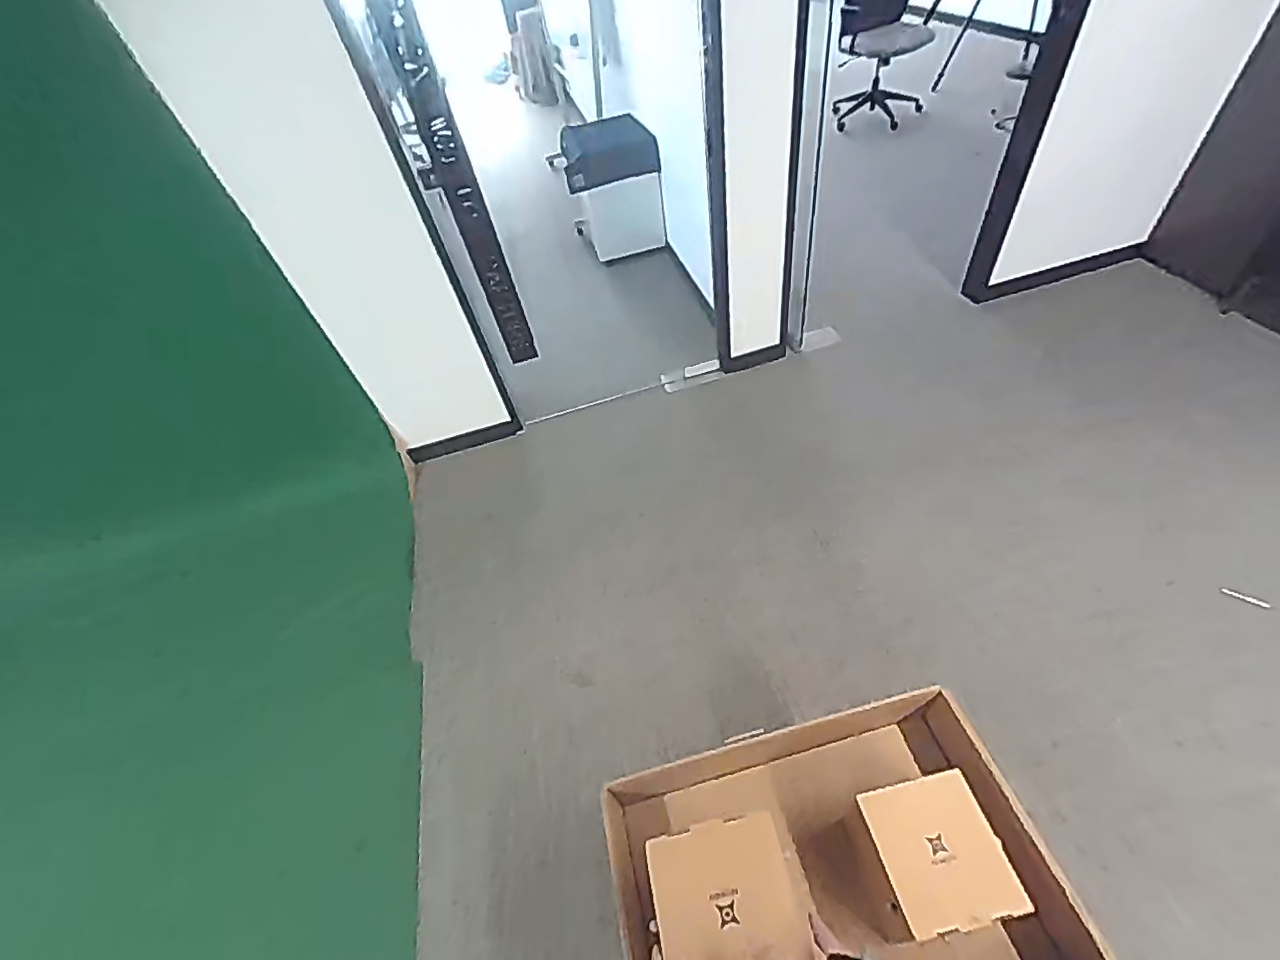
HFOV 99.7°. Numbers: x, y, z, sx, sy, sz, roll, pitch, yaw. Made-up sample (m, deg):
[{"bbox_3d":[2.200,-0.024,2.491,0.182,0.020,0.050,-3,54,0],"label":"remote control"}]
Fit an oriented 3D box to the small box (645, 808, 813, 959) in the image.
[{"bbox_3d":[0.109,0.546,0.682,0.168,0.176,0.179,-14,47,0],"label":"small box"}]
